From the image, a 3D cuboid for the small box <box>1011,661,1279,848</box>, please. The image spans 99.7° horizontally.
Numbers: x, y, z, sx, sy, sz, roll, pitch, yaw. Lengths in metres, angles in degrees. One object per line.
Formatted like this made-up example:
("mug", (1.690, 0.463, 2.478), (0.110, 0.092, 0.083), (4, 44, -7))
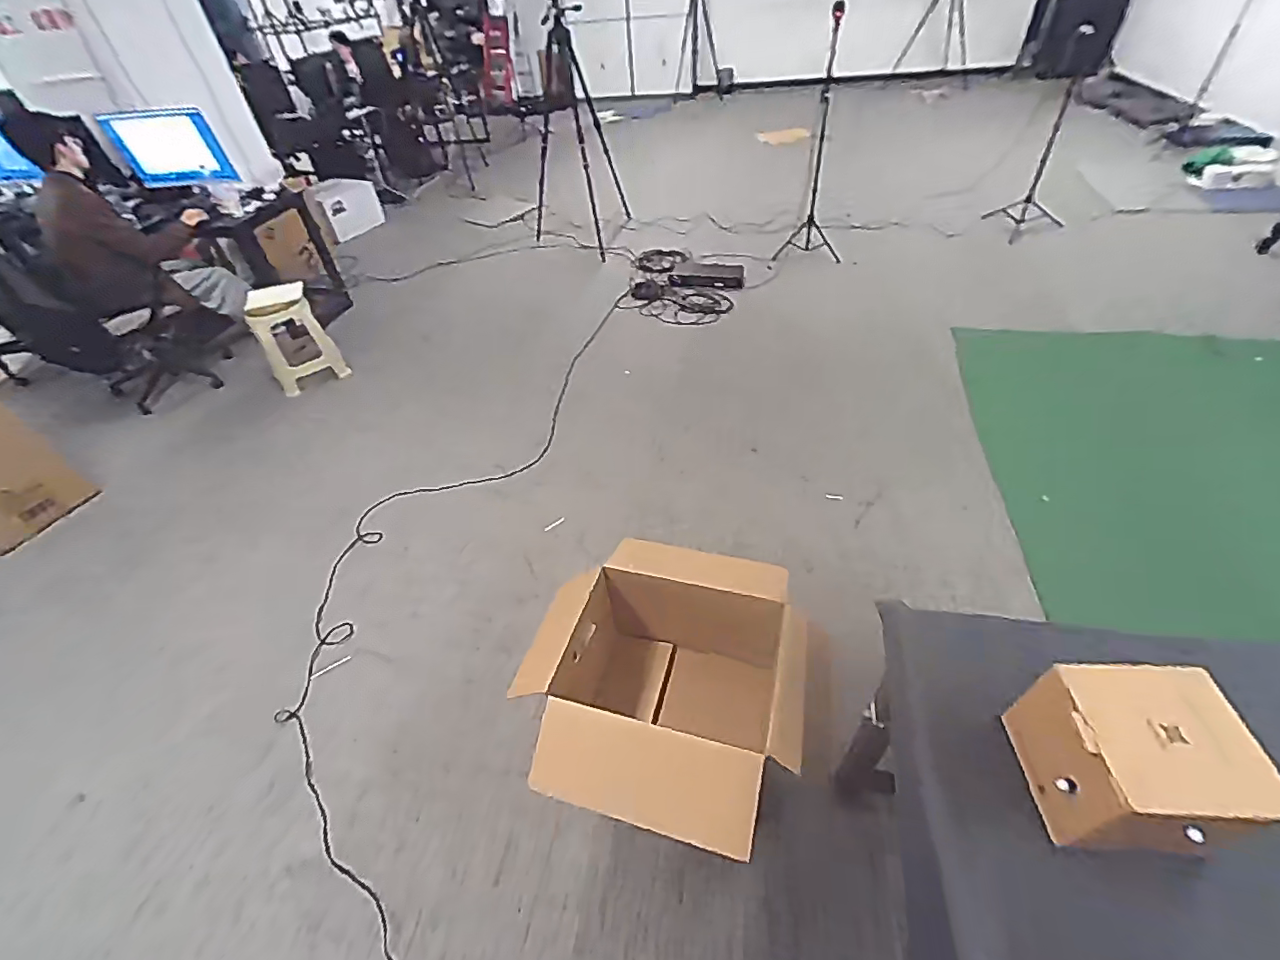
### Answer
("small box", (0.602, 0.341, 0.672), (0.179, 0.176, 0.168), (0, 46, 4))
